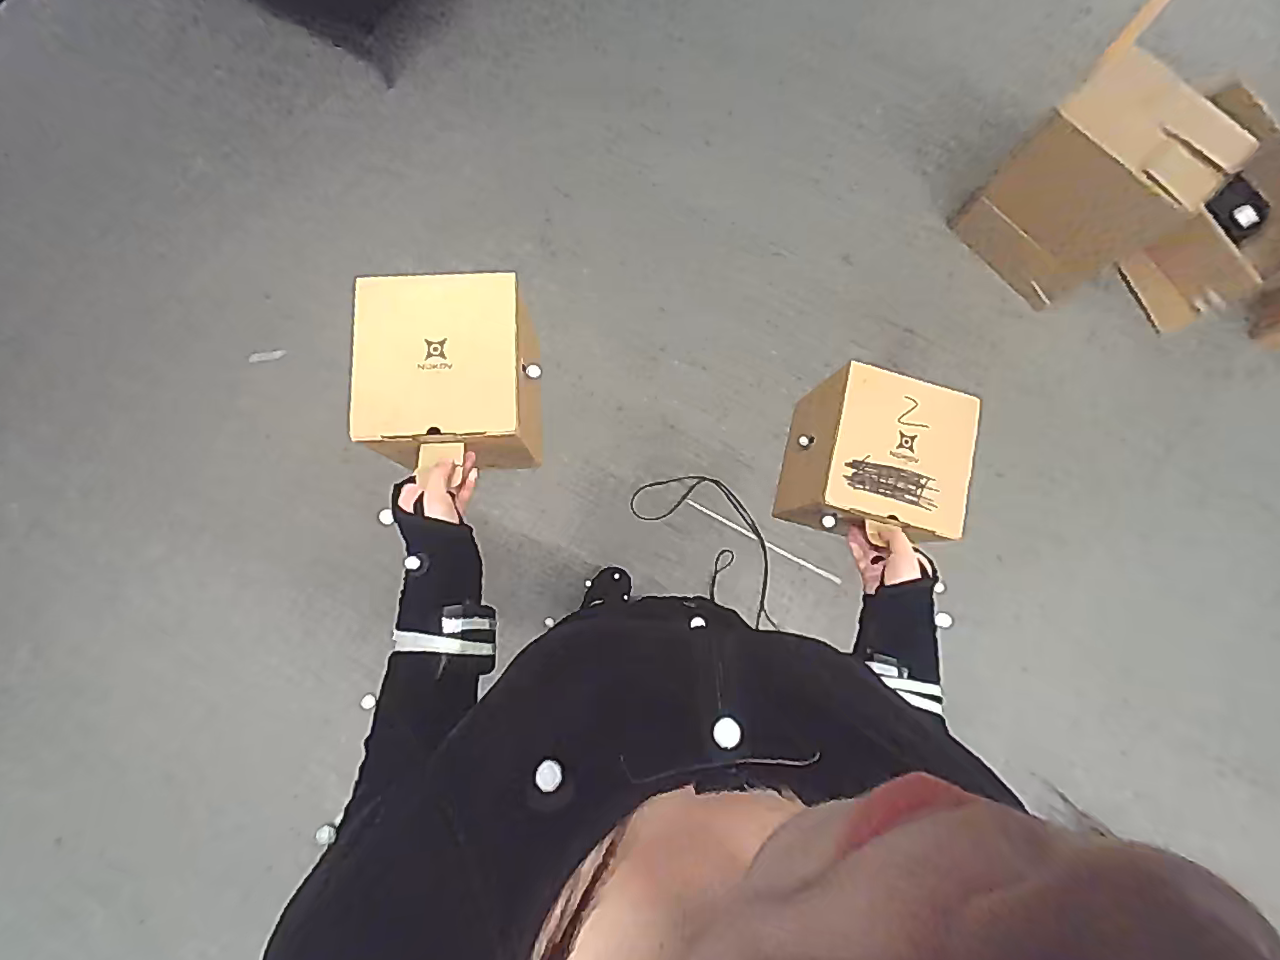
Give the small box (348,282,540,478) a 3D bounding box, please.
[{"bbox_3d":[-0.210,-0.105,0.622,0.168,0.176,0.179,-3,81,-2],"label":"small box"}]
